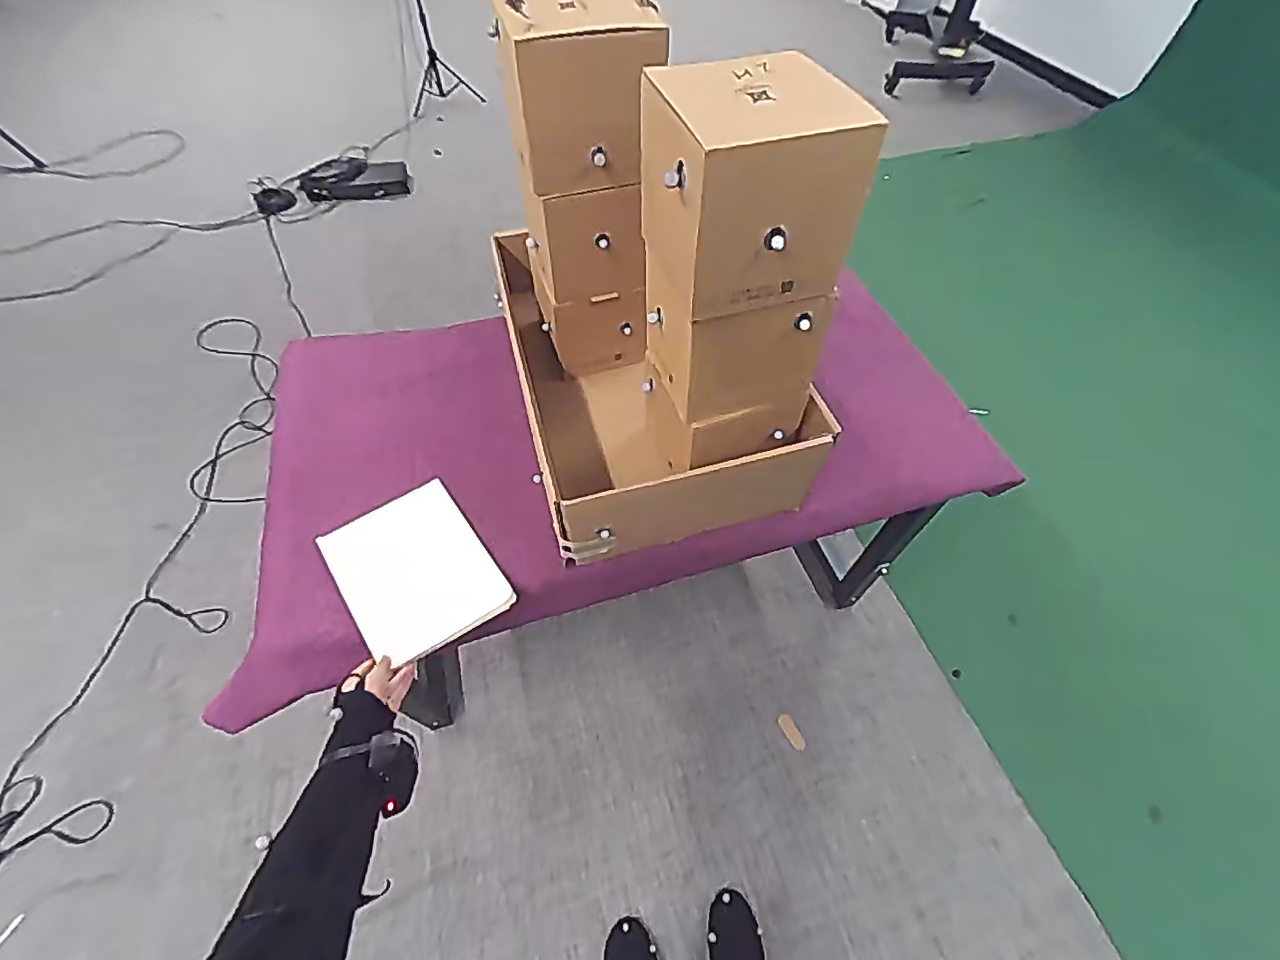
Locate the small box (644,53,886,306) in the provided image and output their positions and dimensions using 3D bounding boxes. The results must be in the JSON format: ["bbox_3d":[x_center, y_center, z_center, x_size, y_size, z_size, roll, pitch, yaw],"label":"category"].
[{"bbox_3d":[0.106,-0.295,0.548,0.168,0.176,0.179,-13,55,-10],"label":"small box"}]

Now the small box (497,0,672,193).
[{"bbox_3d":[-0.073,-0.494,0.687,0.179,0.176,0.168,-13,58,-11],"label":"small box"}]

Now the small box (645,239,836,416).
[{"bbox_3d":[0.112,-0.201,0.684,0.179,0.176,0.168,-13,55,-10],"label":"small box"}]

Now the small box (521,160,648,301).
[{"bbox_3d":[-0.074,-0.401,0.822,0.179,0.176,0.168,-16,58,-12],"label":"small box"}]
